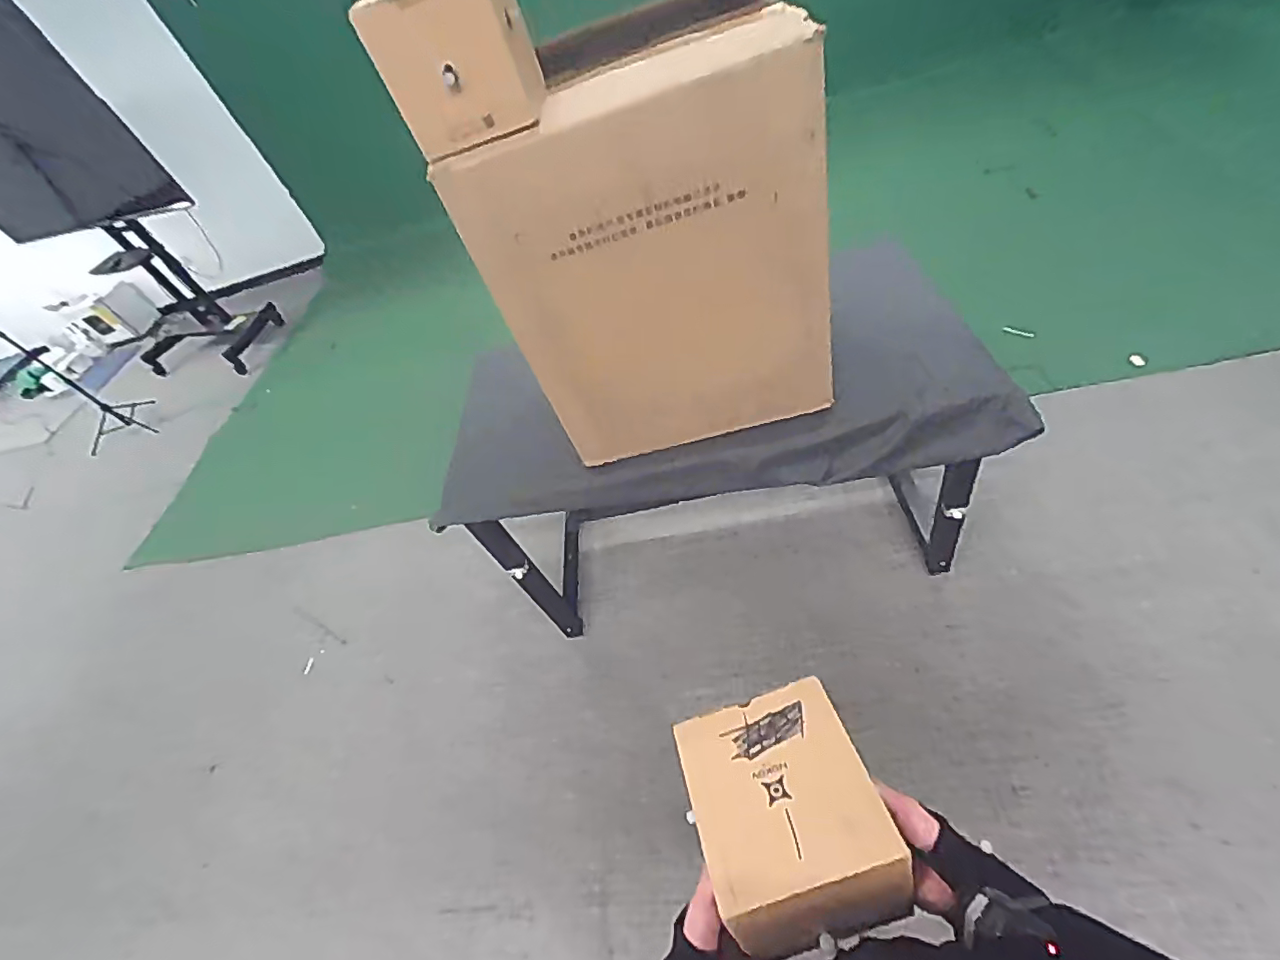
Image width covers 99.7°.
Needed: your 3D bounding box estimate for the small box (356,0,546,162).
[{"bbox_3d":[-0.235,-0.558,0.726,0.168,0.176,0.179,-13,48,10],"label":"small box"}]
